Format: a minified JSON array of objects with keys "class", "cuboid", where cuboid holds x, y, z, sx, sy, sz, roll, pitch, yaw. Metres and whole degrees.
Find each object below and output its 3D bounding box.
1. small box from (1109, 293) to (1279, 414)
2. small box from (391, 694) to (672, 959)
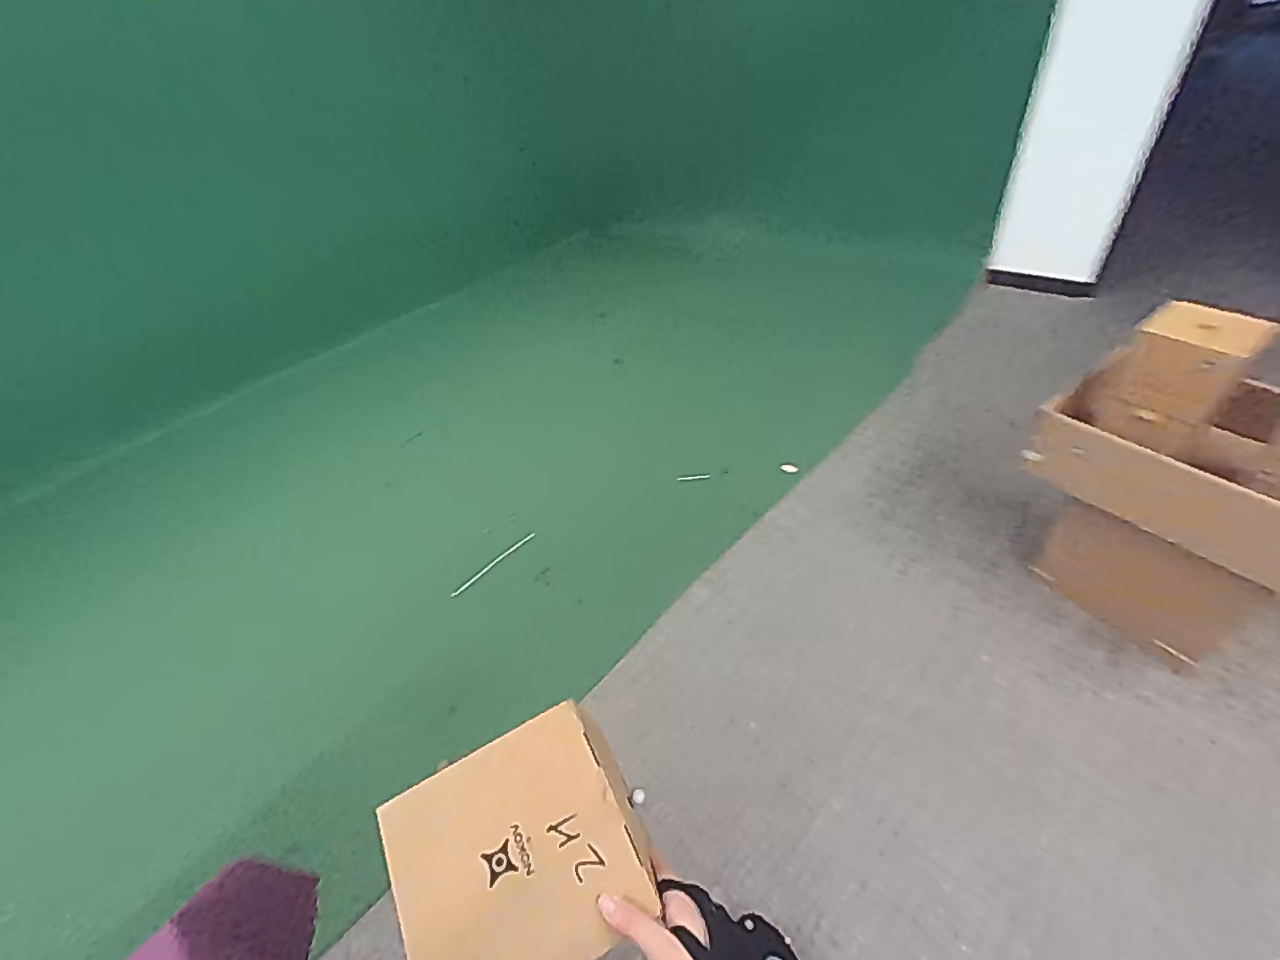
[{"class":"small box","cuboid":[1.159,-0.268,1.149,0.168,0.176,0.179,-32,47,-19]},{"class":"small box","cuboid":[-0.084,0.322,0.480,0.179,0.176,0.168,-25,59,-9]}]
